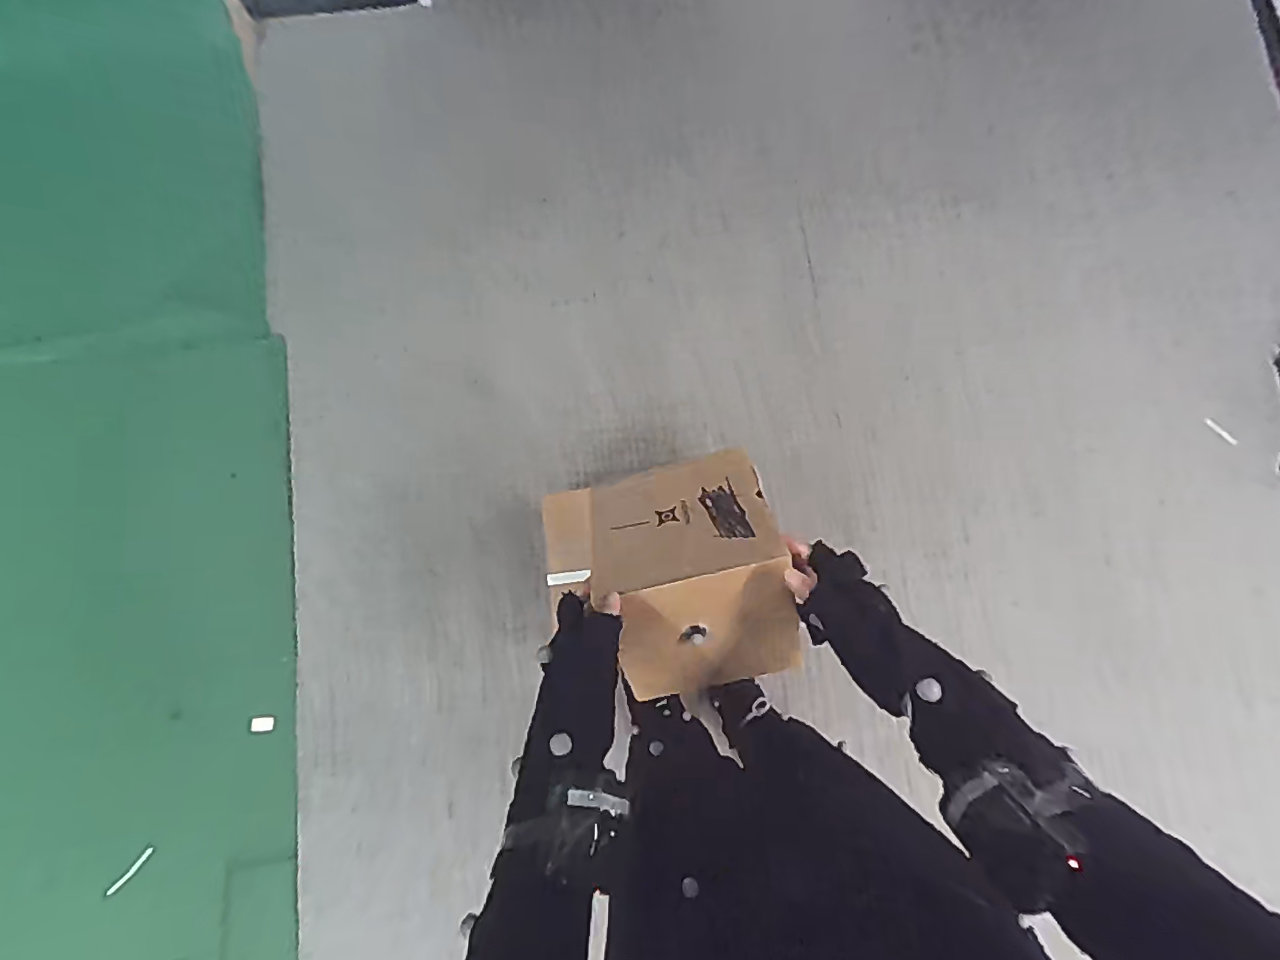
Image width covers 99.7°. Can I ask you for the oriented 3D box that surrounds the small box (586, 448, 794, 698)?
[{"bbox_3d":[0.053,0.098,0.562,0.179,0.176,0.168,-16,37,6],"label":"small box"}]
